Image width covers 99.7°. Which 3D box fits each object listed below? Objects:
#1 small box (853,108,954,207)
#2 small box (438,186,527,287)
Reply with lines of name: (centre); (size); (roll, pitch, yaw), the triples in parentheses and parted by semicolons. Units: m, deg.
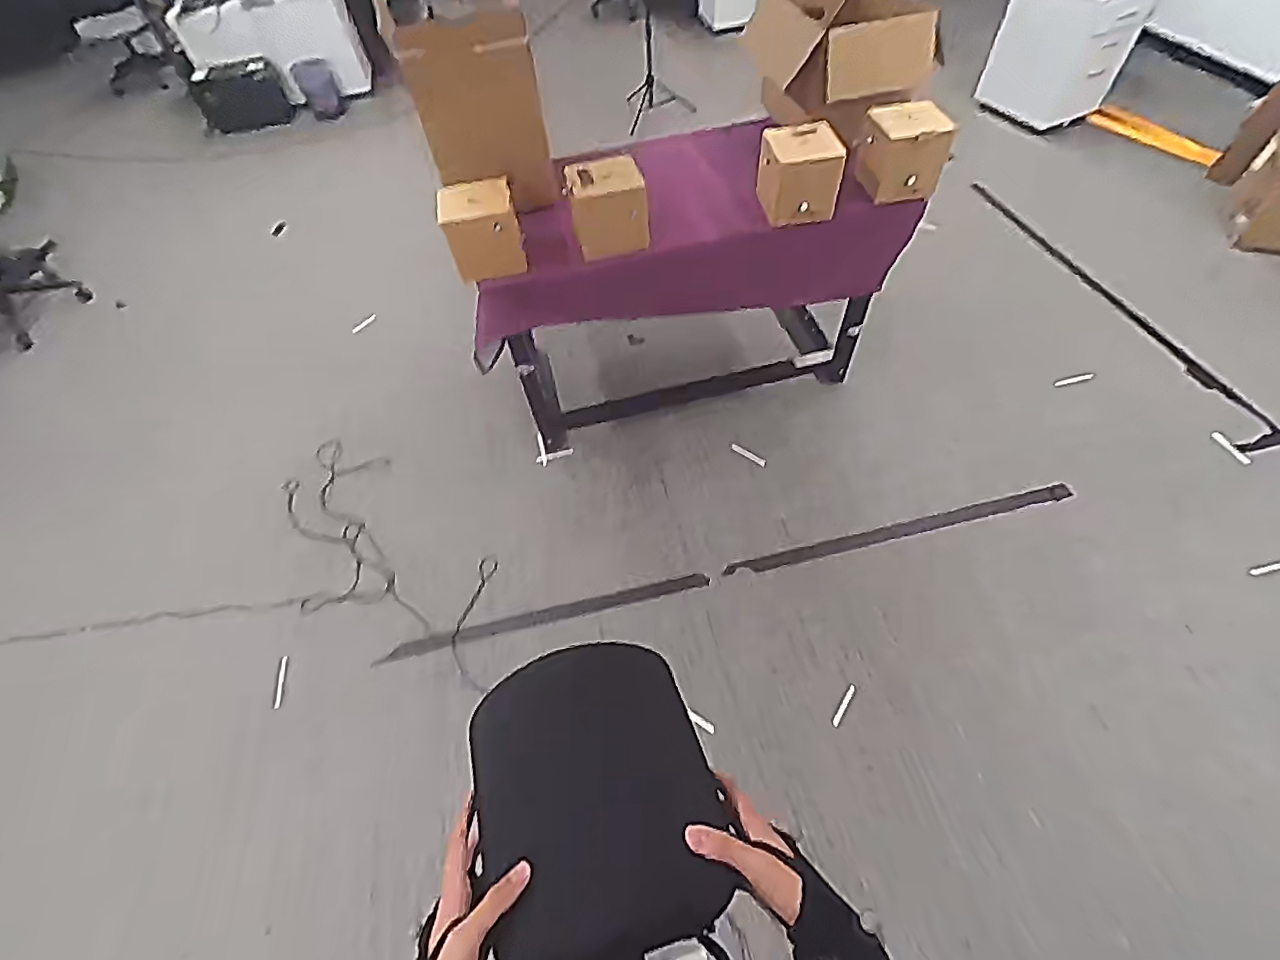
small box: (0.696, -0.865, 1.454); (0.168, 0.176, 0.179); (-9, 54, 0)
small box: (-0.402, -0.619, 1.387); (0.179, 0.176, 0.168); (-13, 55, -5)
